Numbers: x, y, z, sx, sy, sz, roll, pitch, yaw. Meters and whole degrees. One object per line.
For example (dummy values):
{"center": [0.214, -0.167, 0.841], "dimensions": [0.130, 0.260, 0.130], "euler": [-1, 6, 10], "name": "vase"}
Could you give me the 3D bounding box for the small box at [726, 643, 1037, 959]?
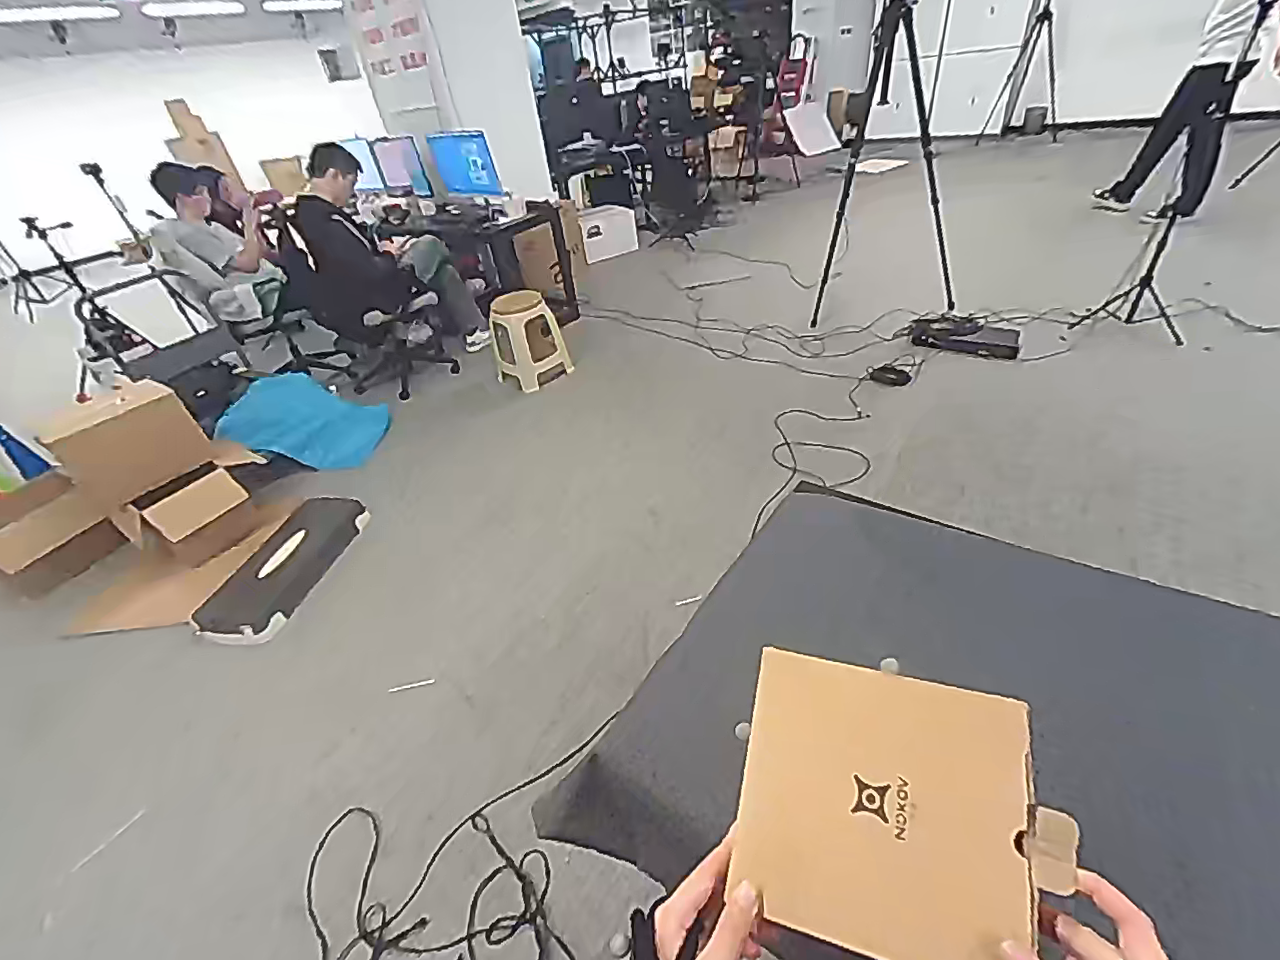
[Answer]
{"center": [0.173, 0.243, 0.423], "dimensions": [0.179, 0.176, 0.168], "euler": [7, 64, 17], "name": "small box"}
